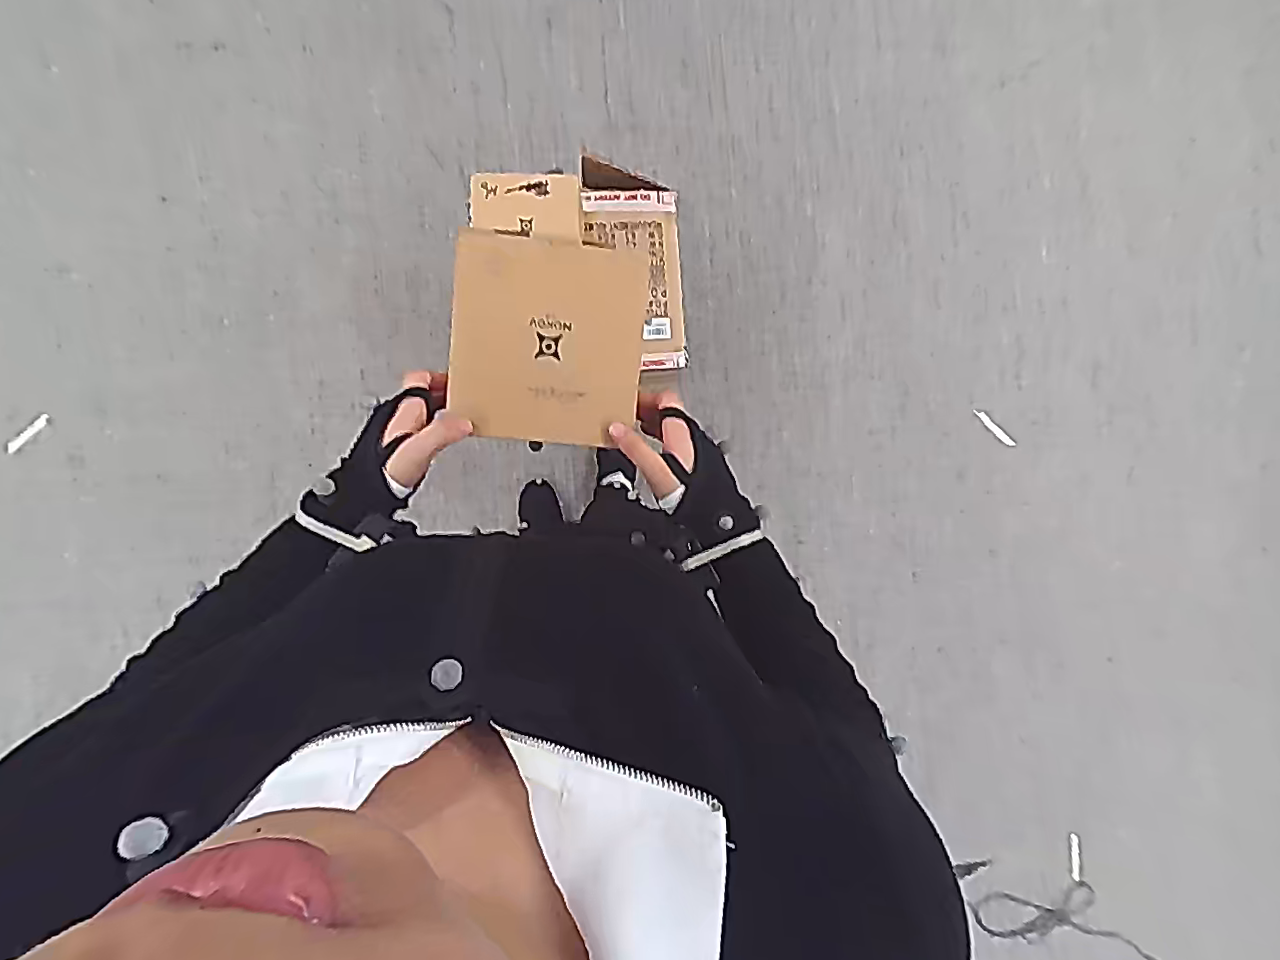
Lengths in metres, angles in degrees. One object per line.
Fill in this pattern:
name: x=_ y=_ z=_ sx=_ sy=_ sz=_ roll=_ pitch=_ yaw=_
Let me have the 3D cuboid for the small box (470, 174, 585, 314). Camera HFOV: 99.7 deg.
small box: x=-0.178 y=-0.382 z=0.904 sx=0.168 sy=0.176 sz=0.179 roll=-1 pitch=94 yaw=-3
